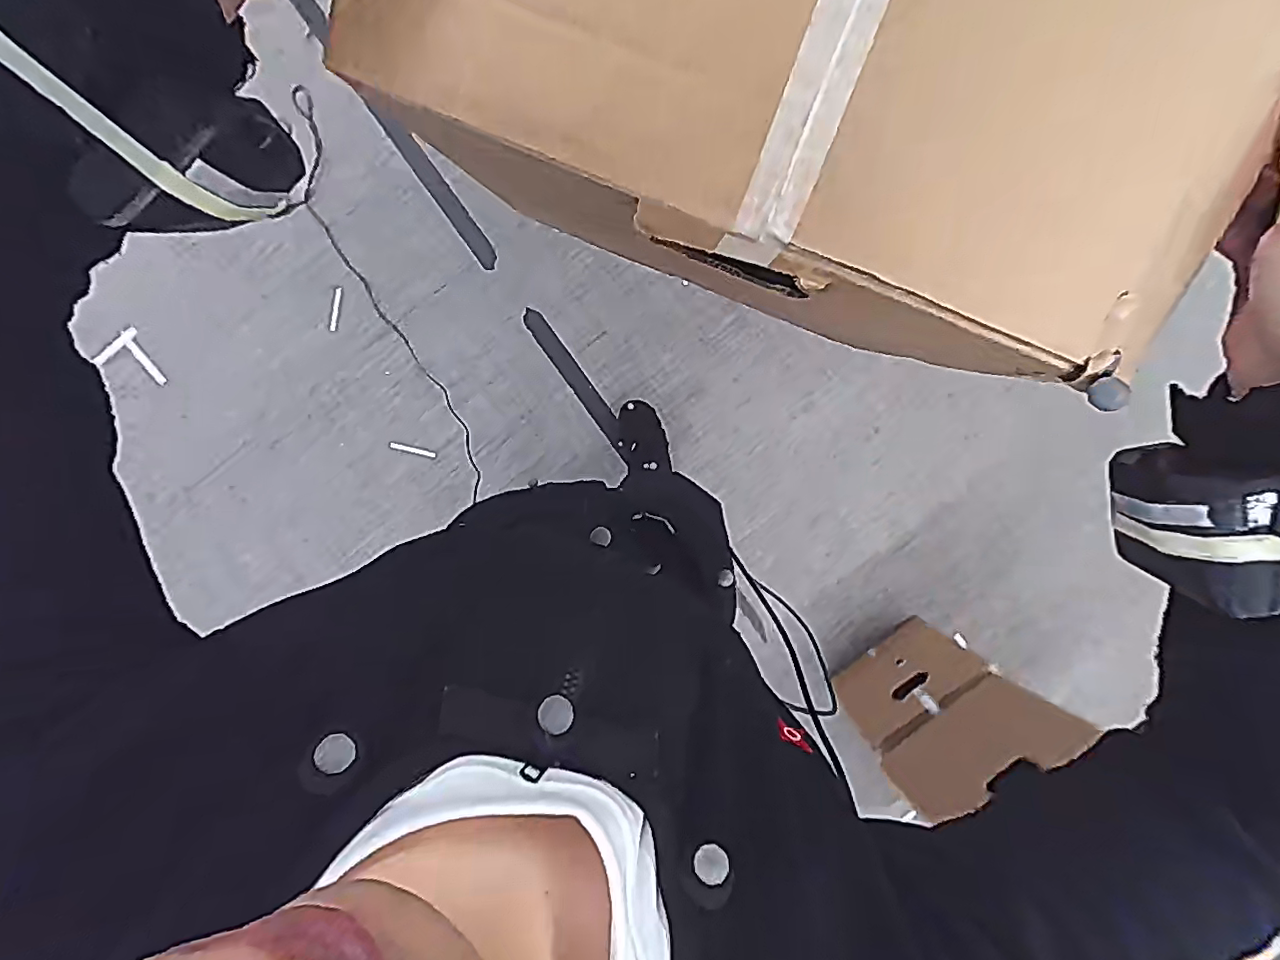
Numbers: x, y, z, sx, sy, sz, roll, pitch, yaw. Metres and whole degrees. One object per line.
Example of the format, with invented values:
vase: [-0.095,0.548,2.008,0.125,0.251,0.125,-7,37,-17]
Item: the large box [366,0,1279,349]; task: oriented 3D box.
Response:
large box: [0.111,-0.321,0.278,0.320,0.320,0.408,18,107,-5]
